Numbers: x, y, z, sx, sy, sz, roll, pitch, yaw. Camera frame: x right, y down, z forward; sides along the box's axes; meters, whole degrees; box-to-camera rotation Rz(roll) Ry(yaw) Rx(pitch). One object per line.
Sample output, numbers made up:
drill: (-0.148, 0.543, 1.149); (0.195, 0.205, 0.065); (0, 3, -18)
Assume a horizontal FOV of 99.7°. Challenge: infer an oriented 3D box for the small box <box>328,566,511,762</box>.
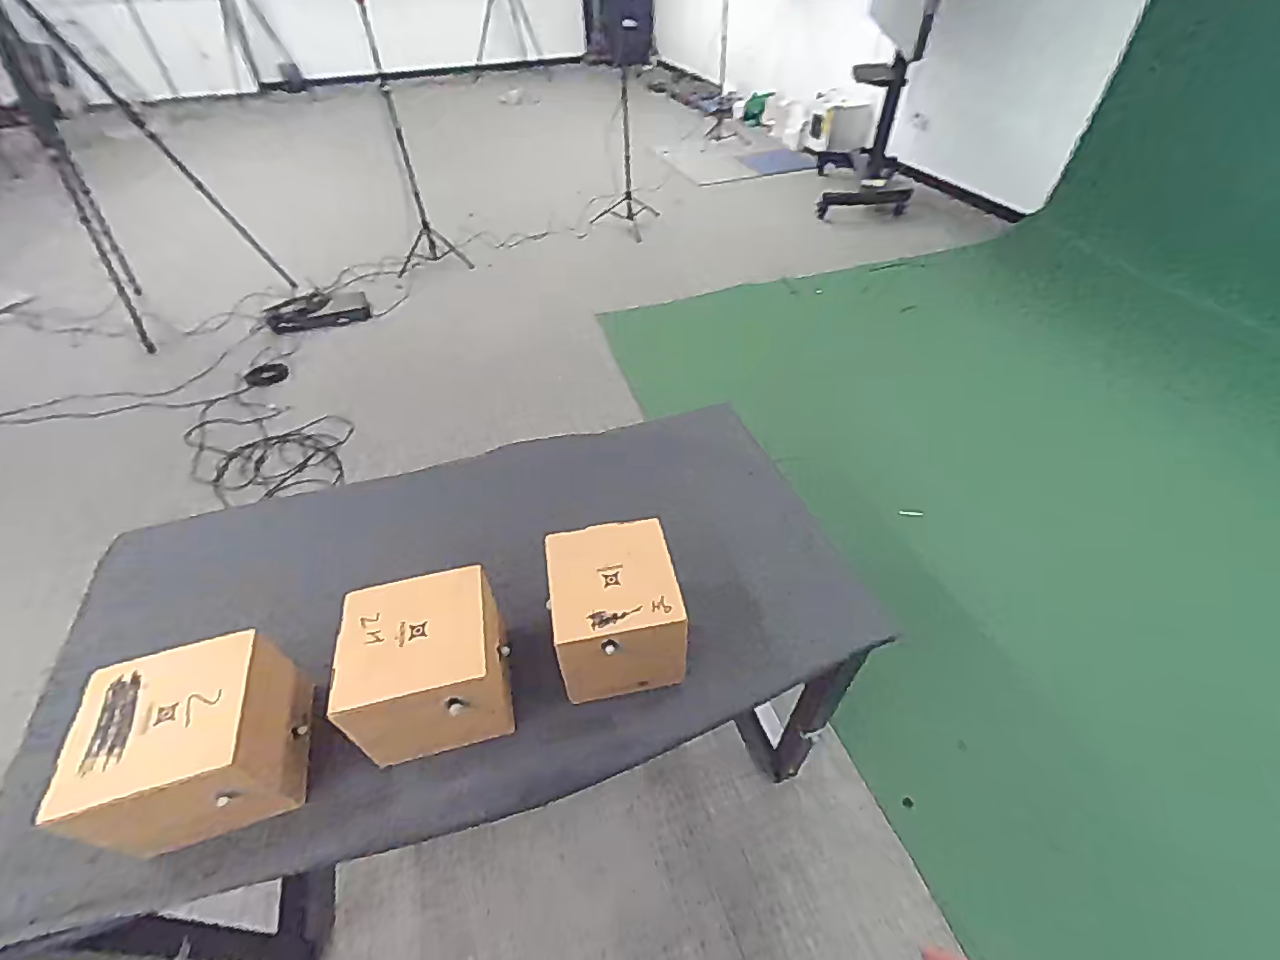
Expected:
small box: (-0.273, 0.243, 0.713); (0.179, 0.176, 0.168); (-12, 45, -8)
